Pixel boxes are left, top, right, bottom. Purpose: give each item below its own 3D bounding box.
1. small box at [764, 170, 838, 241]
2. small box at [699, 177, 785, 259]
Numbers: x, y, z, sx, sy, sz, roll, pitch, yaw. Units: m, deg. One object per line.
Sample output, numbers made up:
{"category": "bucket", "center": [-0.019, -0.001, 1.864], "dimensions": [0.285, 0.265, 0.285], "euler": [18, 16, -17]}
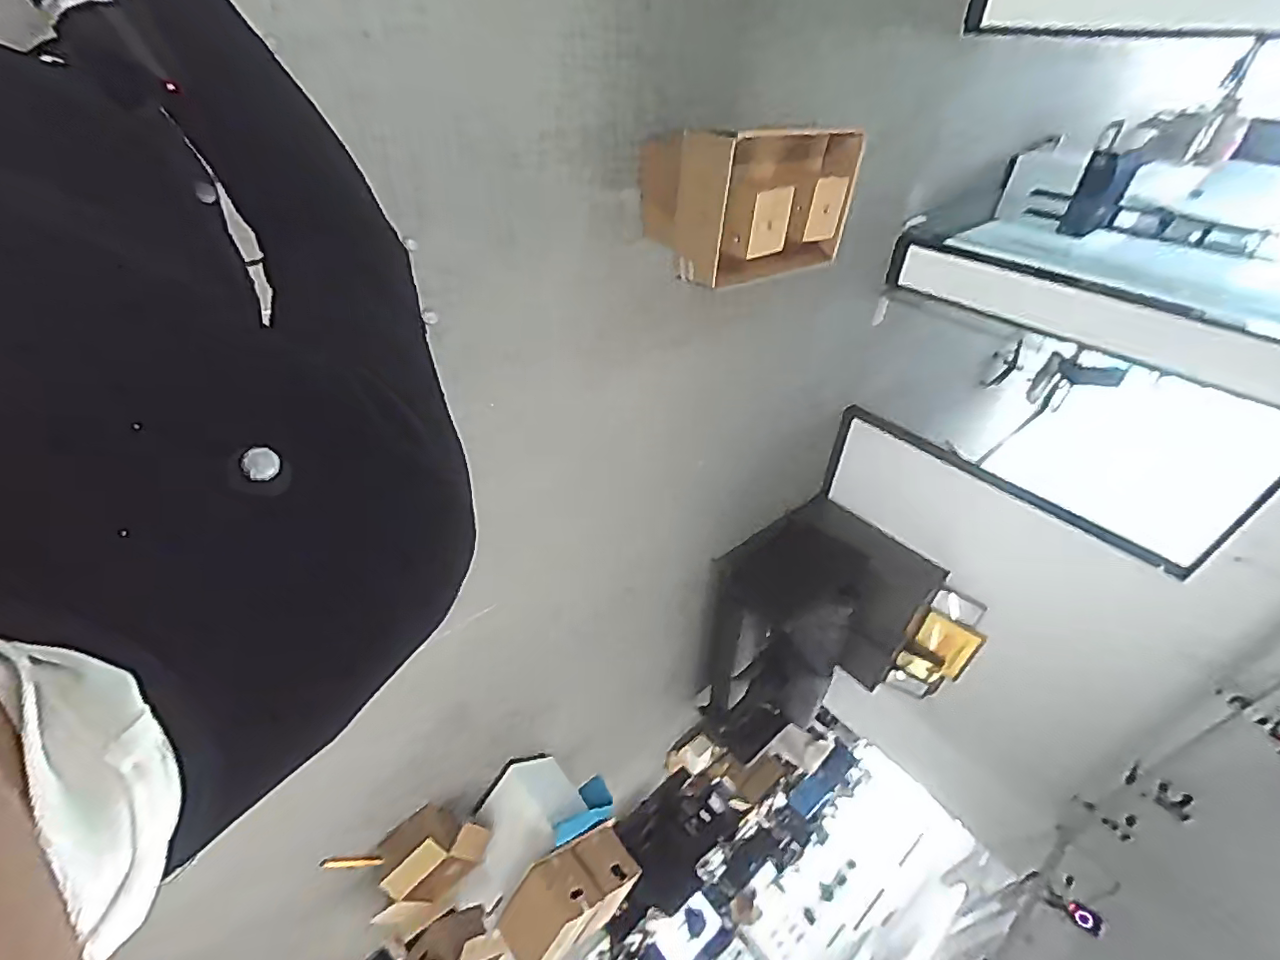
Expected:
{"category": "small box", "center": [0.493, -0.881, 1.725], "dimensions": [0.168, 0.176, 0.179], "euler": [-24, 137, -34]}
{"category": "small box", "center": [0.292, -0.772, 1.586], "dimensions": [0.168, 0.176, 0.179], "euler": [-28, 138, -32]}
